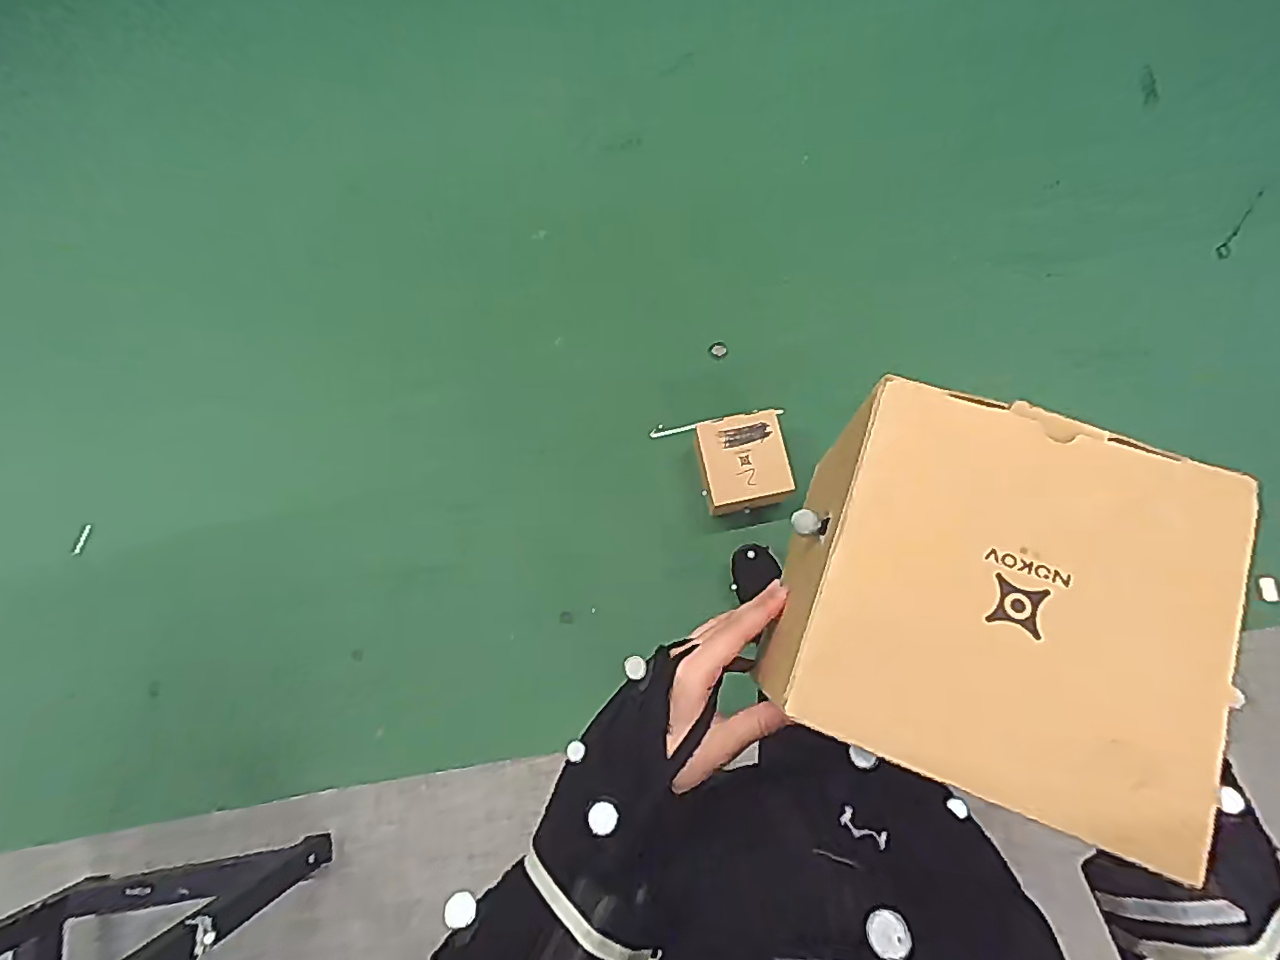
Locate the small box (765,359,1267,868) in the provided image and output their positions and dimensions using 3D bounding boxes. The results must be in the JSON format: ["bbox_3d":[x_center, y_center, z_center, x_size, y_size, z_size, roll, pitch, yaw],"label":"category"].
[{"bbox_3d":[0.177,0.064,0.312,0.168,0.176,0.179,19,78,11],"label":"small box"}]
